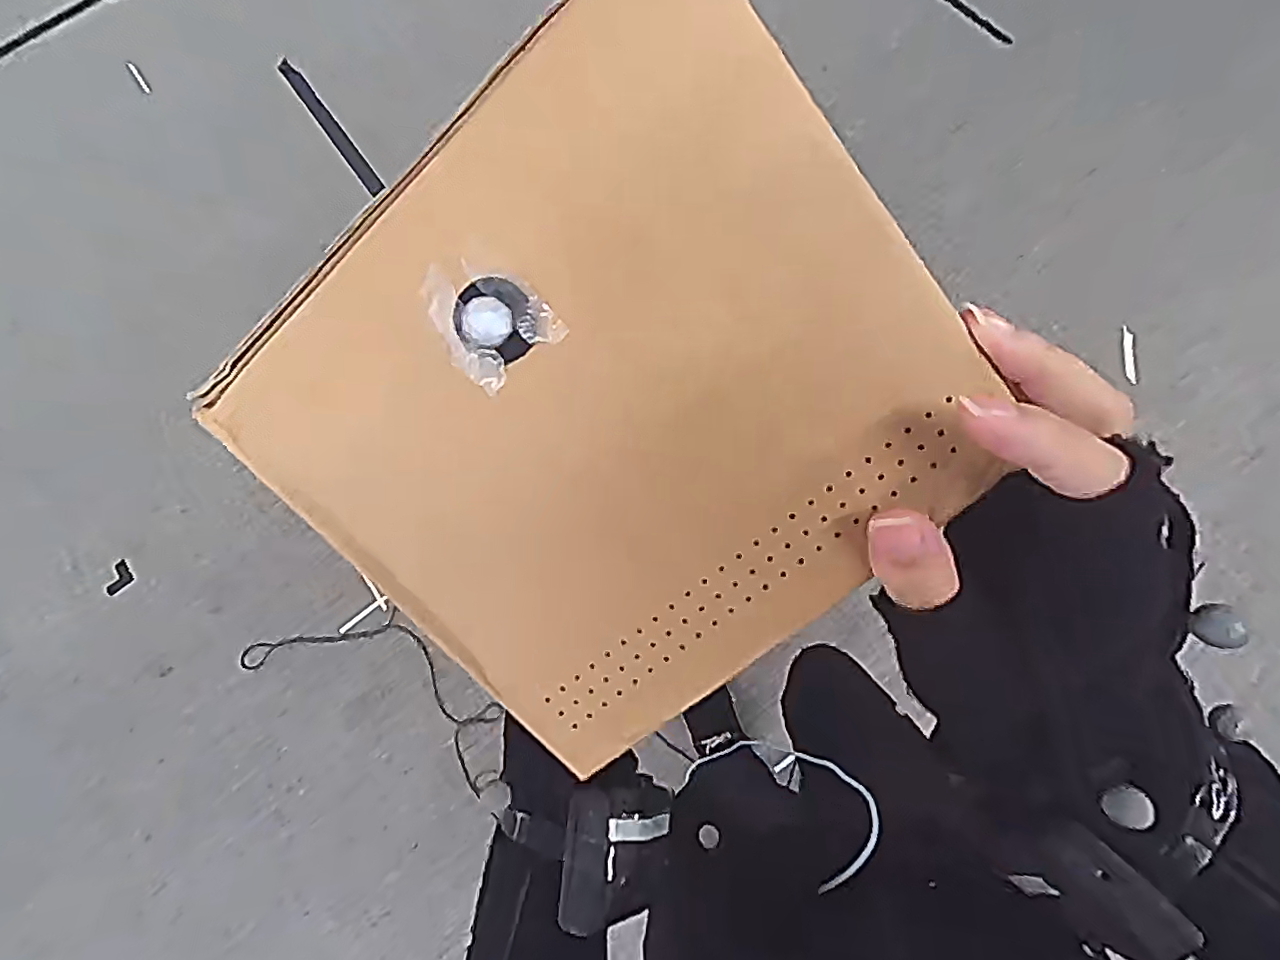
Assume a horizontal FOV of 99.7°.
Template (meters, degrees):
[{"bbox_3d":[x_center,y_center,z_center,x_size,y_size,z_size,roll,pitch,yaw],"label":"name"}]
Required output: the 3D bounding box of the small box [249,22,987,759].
[{"bbox_3d":[-0.002,-0.022,0.240,0.179,0.168,0.176,-40,102,12],"label":"small box"}]
